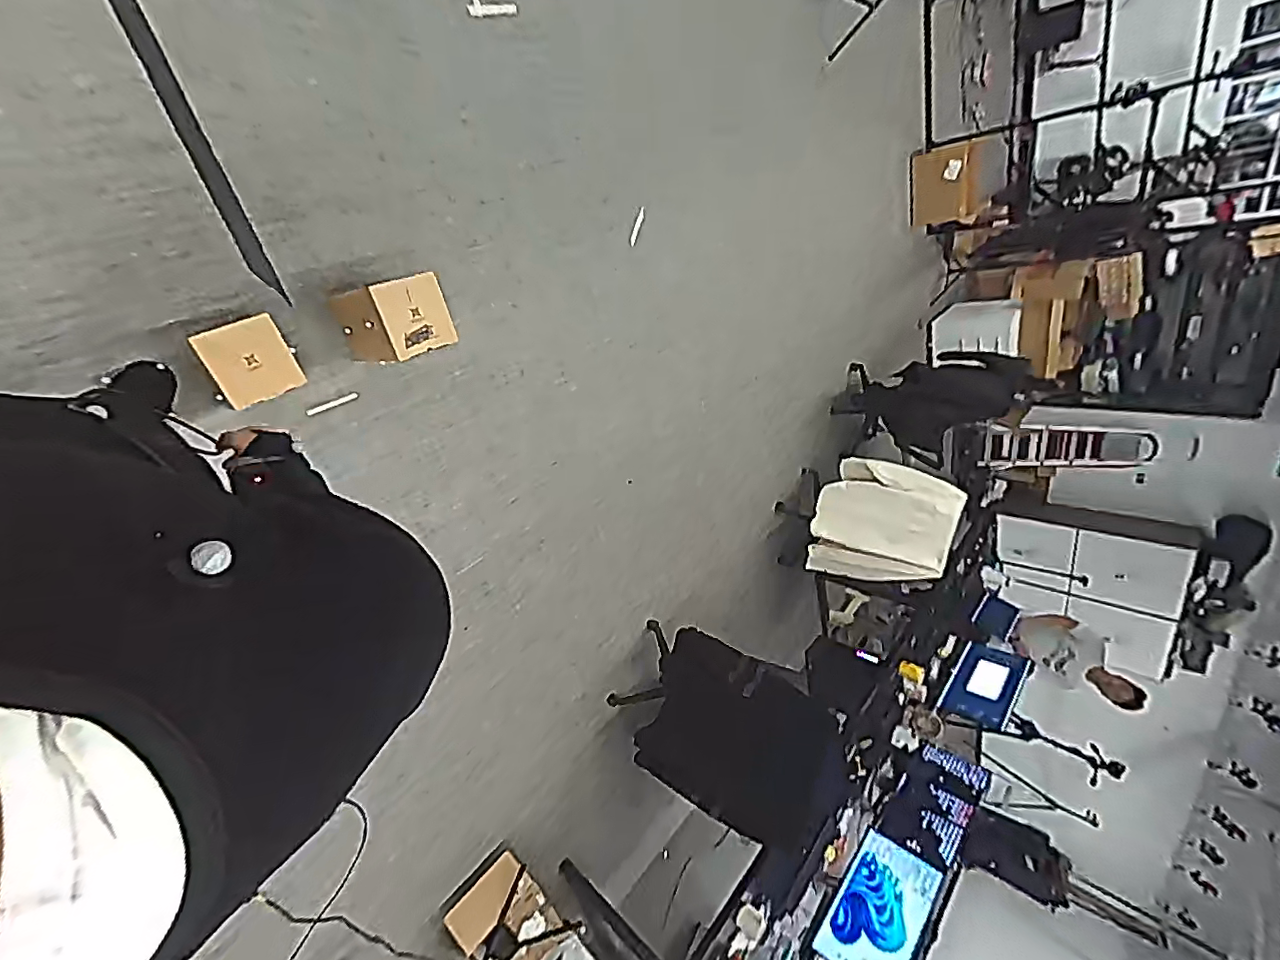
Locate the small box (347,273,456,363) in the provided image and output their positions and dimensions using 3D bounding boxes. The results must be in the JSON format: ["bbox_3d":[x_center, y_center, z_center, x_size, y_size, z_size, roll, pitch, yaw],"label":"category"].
[{"bbox_3d":[-0.595,-0.403,1.349,0.168,0.176,0.179,-34,120,-36],"label":"small box"}]

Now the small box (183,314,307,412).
[{"bbox_3d":[-0.935,-0.276,1.277,0.168,0.176,0.179,-37,124,-33],"label":"small box"}]
